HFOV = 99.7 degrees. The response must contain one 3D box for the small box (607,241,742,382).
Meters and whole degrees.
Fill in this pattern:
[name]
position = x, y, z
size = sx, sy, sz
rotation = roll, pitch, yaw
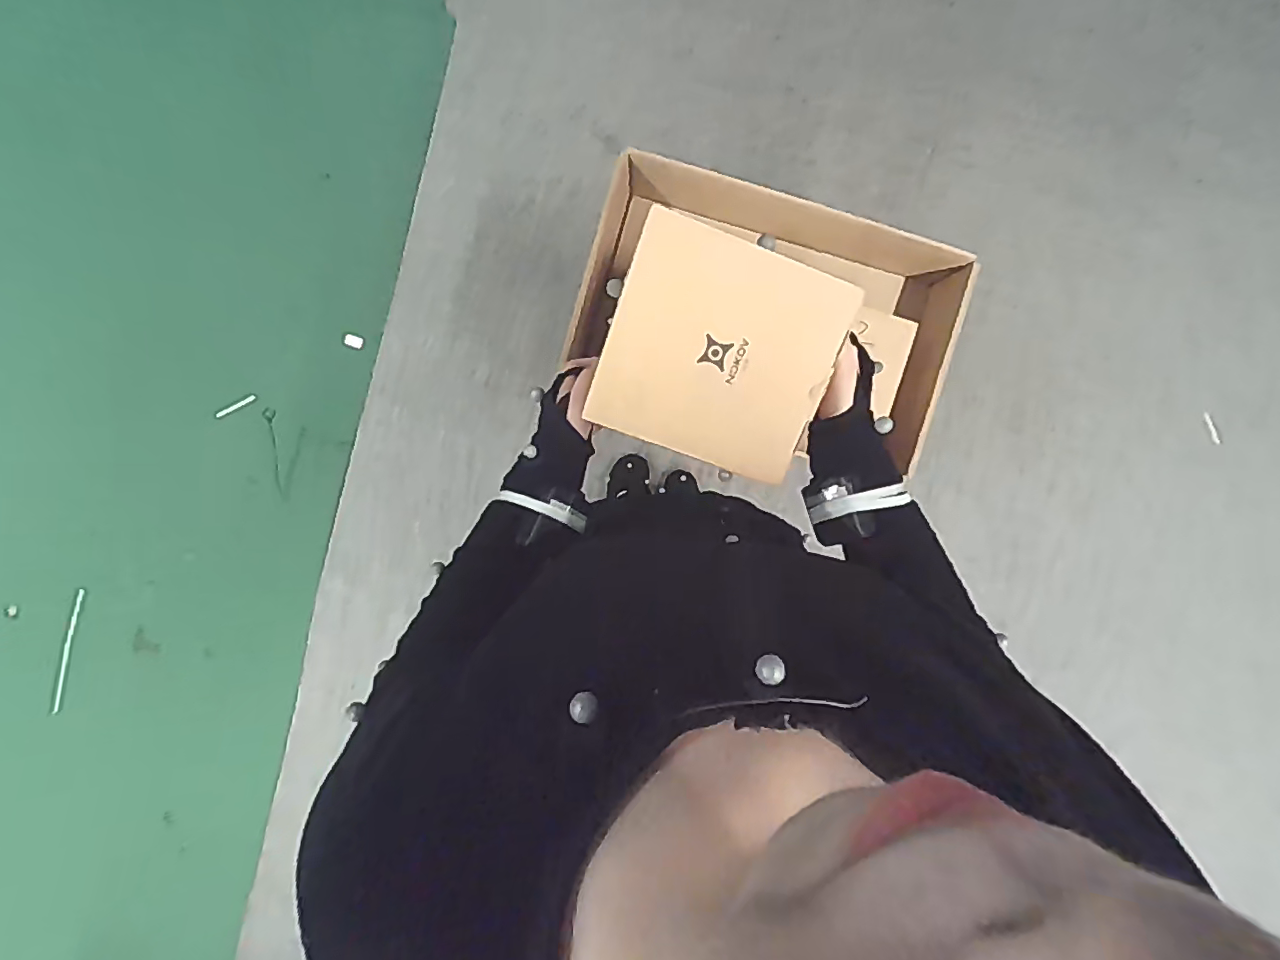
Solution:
[small box]
position = 0.055, -0.276, 0.931
size = 0.179, 0.176, 0.168
rotation = 18, 93, -1
